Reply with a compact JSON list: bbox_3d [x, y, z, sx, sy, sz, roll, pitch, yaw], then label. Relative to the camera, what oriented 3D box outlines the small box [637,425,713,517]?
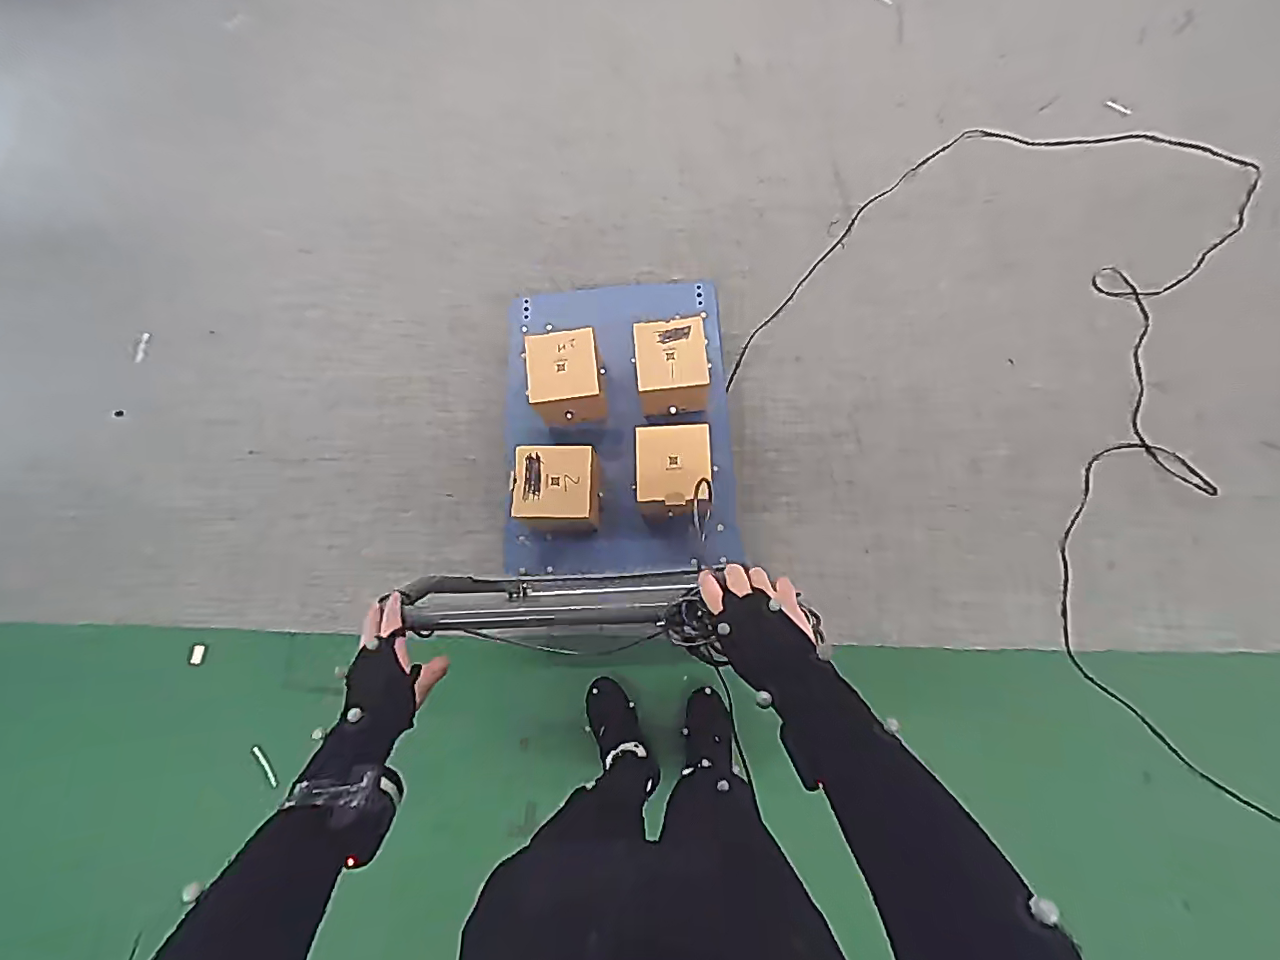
[{"bbox_3d":[0.081,-0.016,1.266,0.168,0.176,0.179,-3,76,4],"label":"small box"}]

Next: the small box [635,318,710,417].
[{"bbox_3d":[0.079,-0.271,1.330,0.168,0.176,0.179,-6,76,4],"label":"small box"}]

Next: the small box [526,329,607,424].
[{"bbox_3d":[-0.177,-0.247,1.344,0.168,0.176,0.179,-7,75,2],"label":"small box"}]
